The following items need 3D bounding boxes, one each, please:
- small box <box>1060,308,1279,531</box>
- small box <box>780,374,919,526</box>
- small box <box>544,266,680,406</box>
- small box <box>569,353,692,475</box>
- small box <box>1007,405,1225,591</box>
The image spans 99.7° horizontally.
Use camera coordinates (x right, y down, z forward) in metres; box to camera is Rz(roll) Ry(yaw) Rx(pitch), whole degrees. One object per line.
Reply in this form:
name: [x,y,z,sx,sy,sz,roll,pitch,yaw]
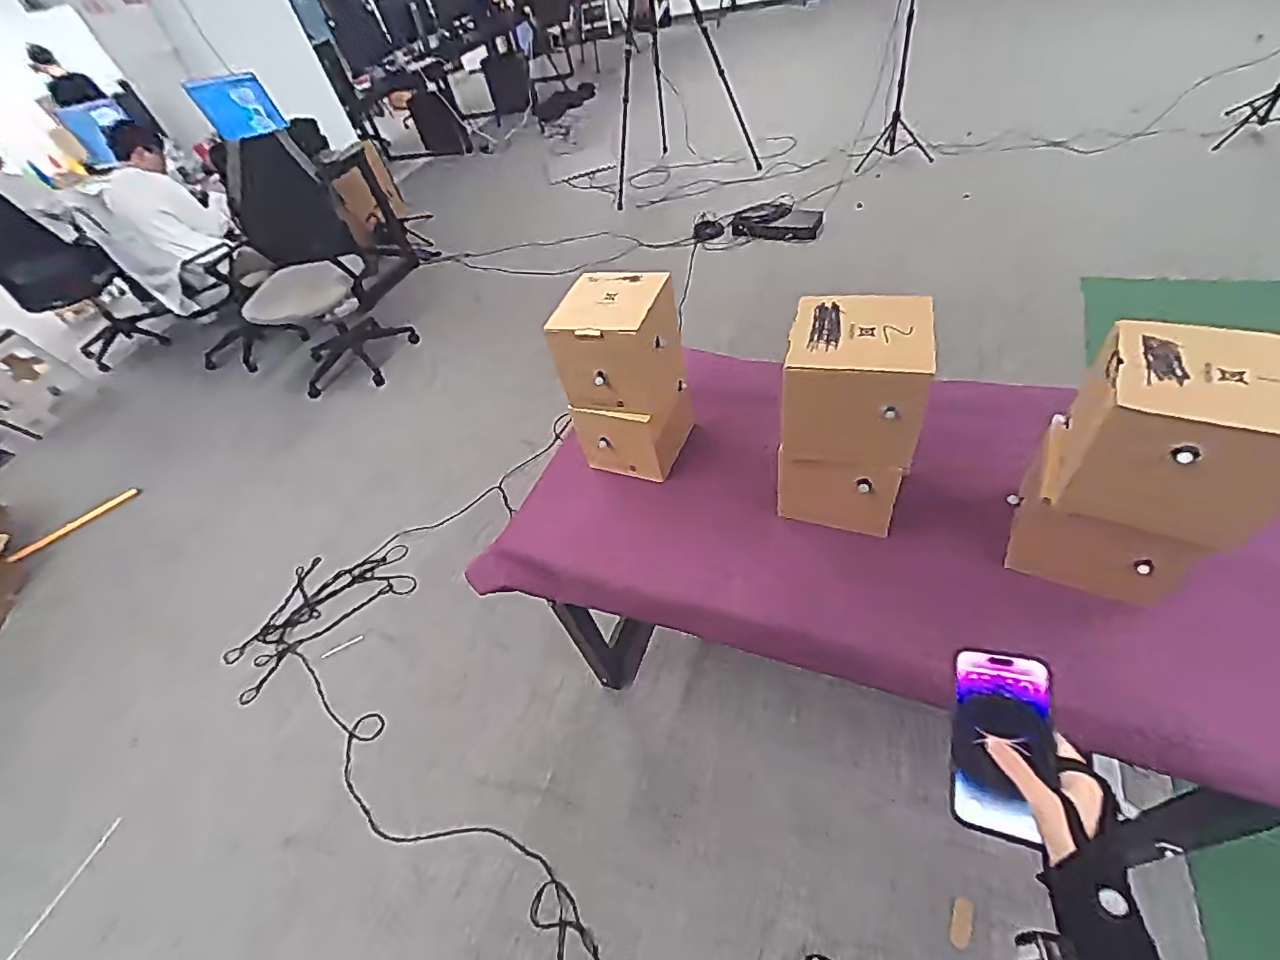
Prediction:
small box: [0.605,-0.068,0.605,0.179,0.176,0.168,17,55,27]
small box: [0.335,-0.047,0.879,0.179,0.176,0.168,11,53,24]
small box: [-0.036,-0.246,0.933,0.168,0.176,0.179,8,52,20]
small box: [-0.007,-0.132,1.048,0.168,0.176,0.179,12,53,24]
small box: [0.635,0.027,0.736,0.179,0.176,0.168,17,55,28]
